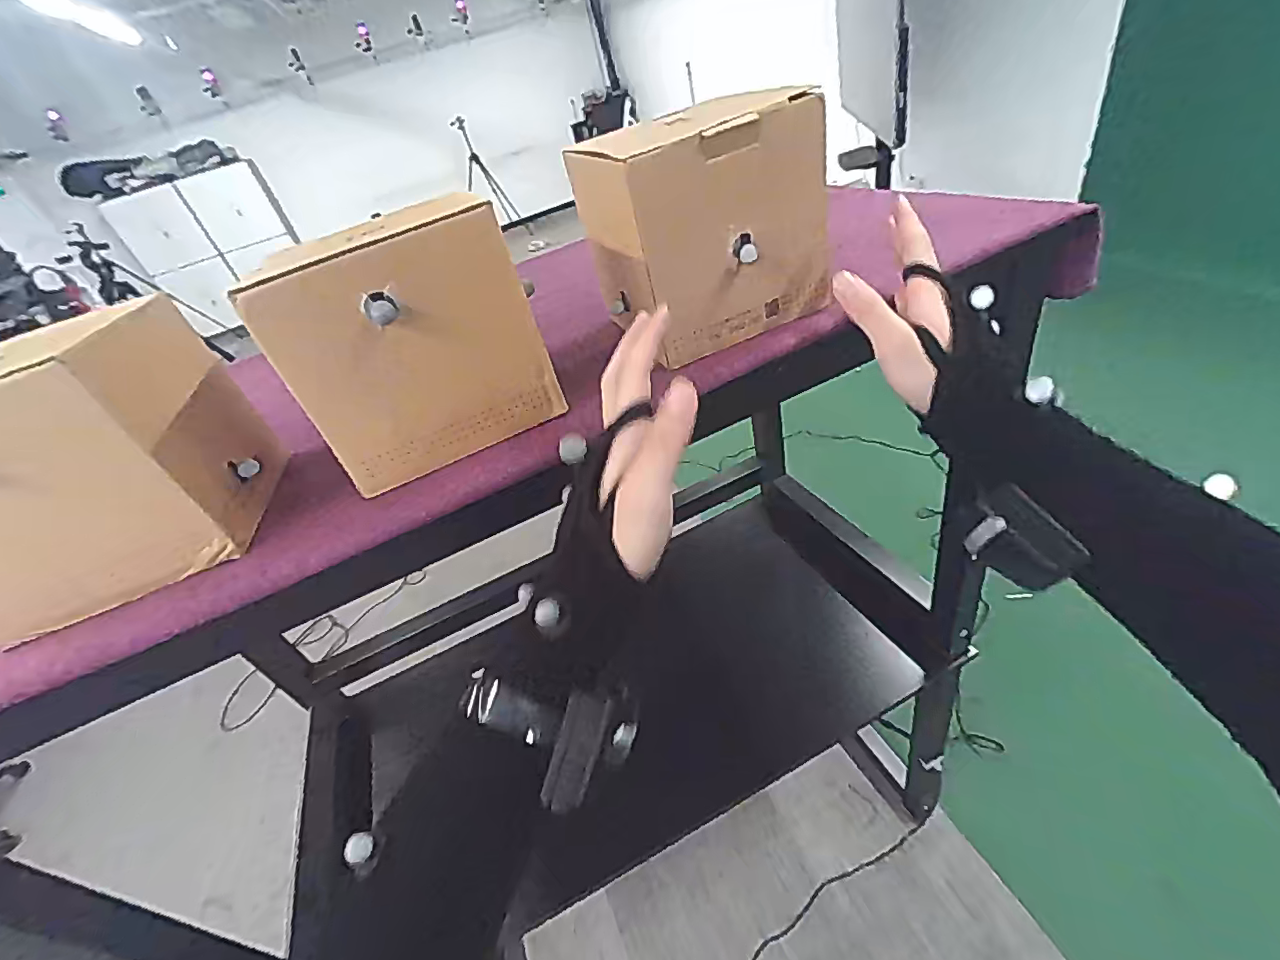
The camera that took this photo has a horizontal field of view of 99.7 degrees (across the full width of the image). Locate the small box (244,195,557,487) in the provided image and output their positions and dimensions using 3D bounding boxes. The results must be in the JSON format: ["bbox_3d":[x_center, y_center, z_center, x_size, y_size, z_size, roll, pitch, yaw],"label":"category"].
[{"bbox_3d":[-0.185,-0.125,0.466,0.179,0.176,0.168,-26,35,-11],"label":"small box"}]

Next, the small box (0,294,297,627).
[{"bbox_3d":[-0.414,-0.019,0.419,0.179,0.176,0.168,-22,36,-7],"label":"small box"}]
